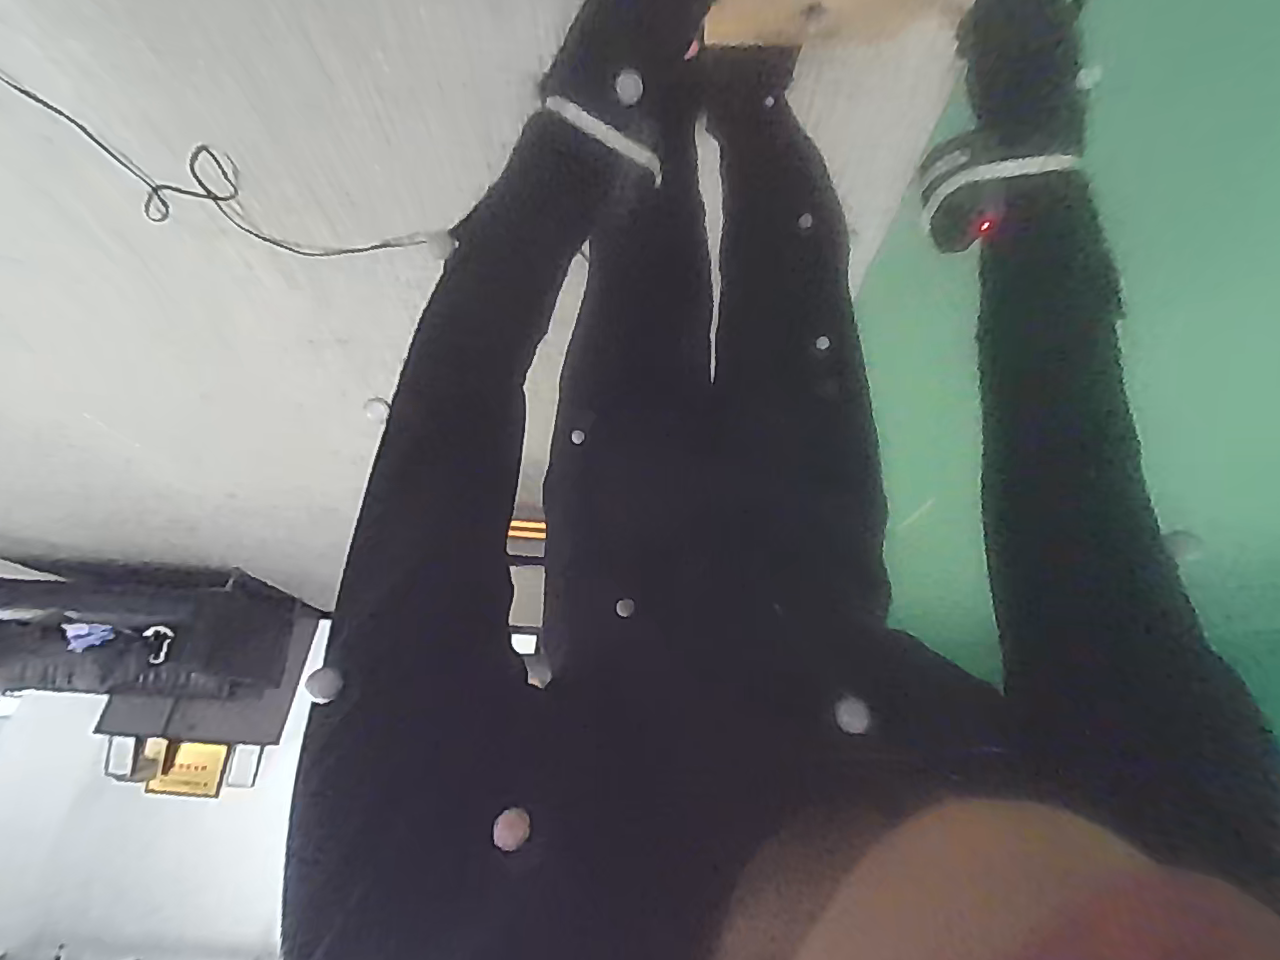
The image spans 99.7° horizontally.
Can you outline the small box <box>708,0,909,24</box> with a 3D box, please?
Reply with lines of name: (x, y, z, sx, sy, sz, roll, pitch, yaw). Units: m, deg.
small box: (0.129, -0.428, 0.349, 0.168, 0.176, 0.179, 3, 113, 3)
